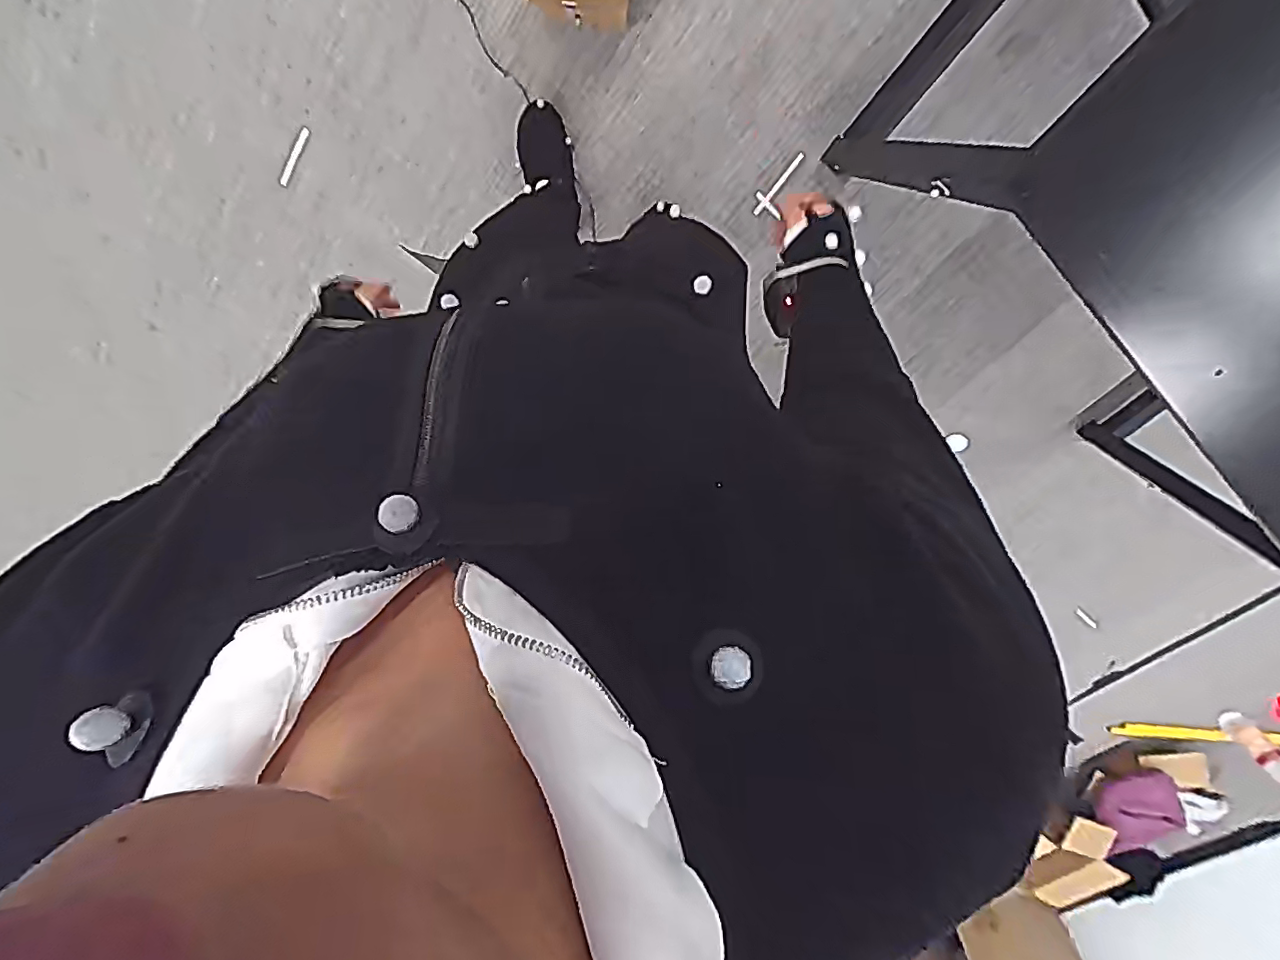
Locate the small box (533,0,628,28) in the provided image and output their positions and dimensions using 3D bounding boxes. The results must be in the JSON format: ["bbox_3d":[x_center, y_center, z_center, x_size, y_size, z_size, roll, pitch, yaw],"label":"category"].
[{"bbox_3d":[-0.098,-0.938,0.965,0.168,0.176,0.179,5,122,-5],"label":"small box"}]

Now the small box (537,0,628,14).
[{"bbox_3d":[-0.097,-0.849,0.829,0.168,0.176,0.179,2,124,-1],"label":"small box"}]
